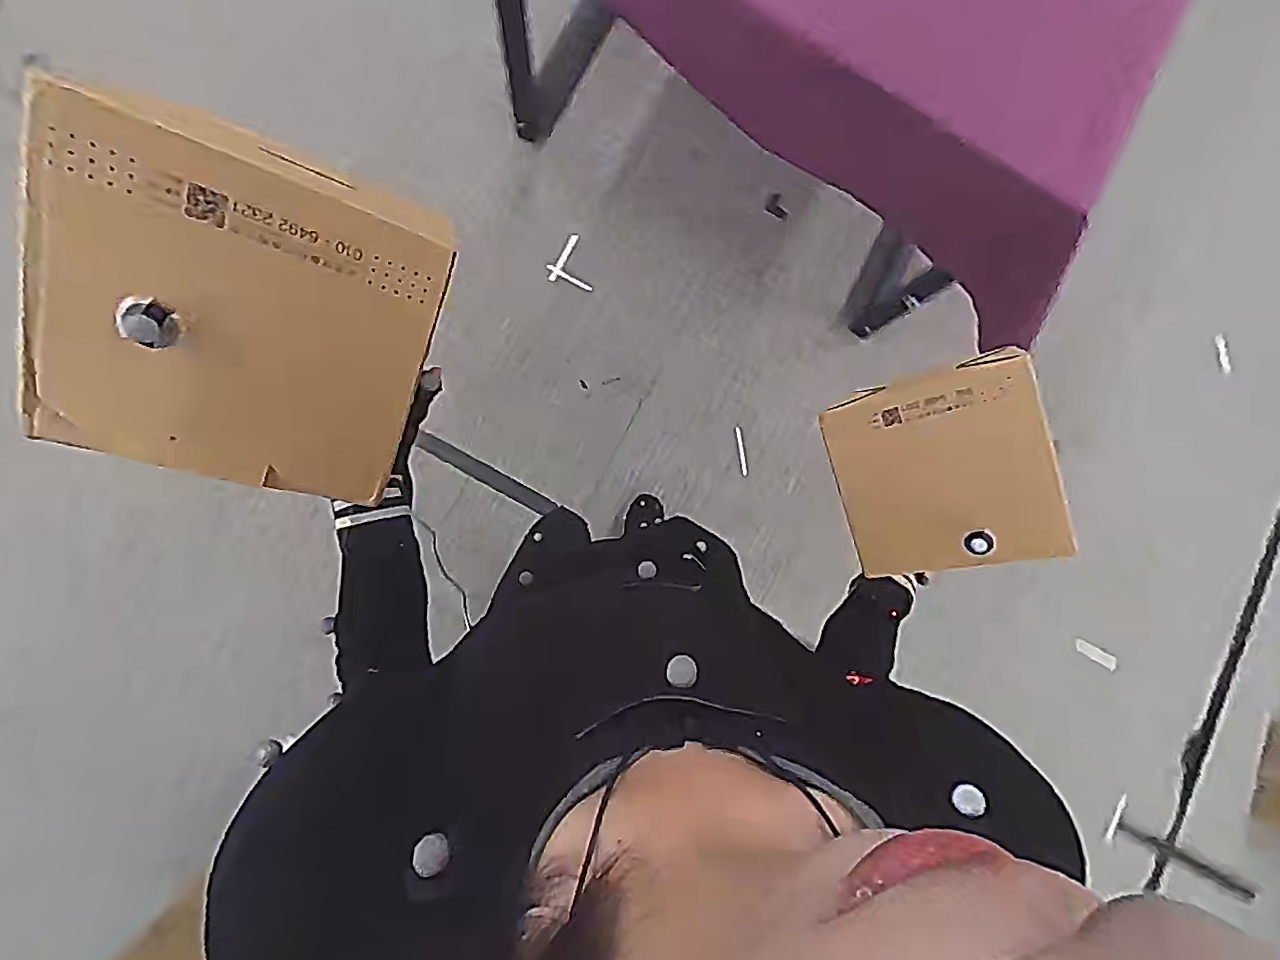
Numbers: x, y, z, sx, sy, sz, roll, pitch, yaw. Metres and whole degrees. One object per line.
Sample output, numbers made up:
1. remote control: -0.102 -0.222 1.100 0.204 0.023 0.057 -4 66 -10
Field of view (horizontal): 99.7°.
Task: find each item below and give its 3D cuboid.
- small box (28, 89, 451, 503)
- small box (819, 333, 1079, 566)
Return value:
1. small box: -0.226 -0.113 0.341 0.168 0.179 0.176 15 113 -26
2. small box: 0.294 -0.036 0.527 0.168 0.179 0.176 -16 97 34
